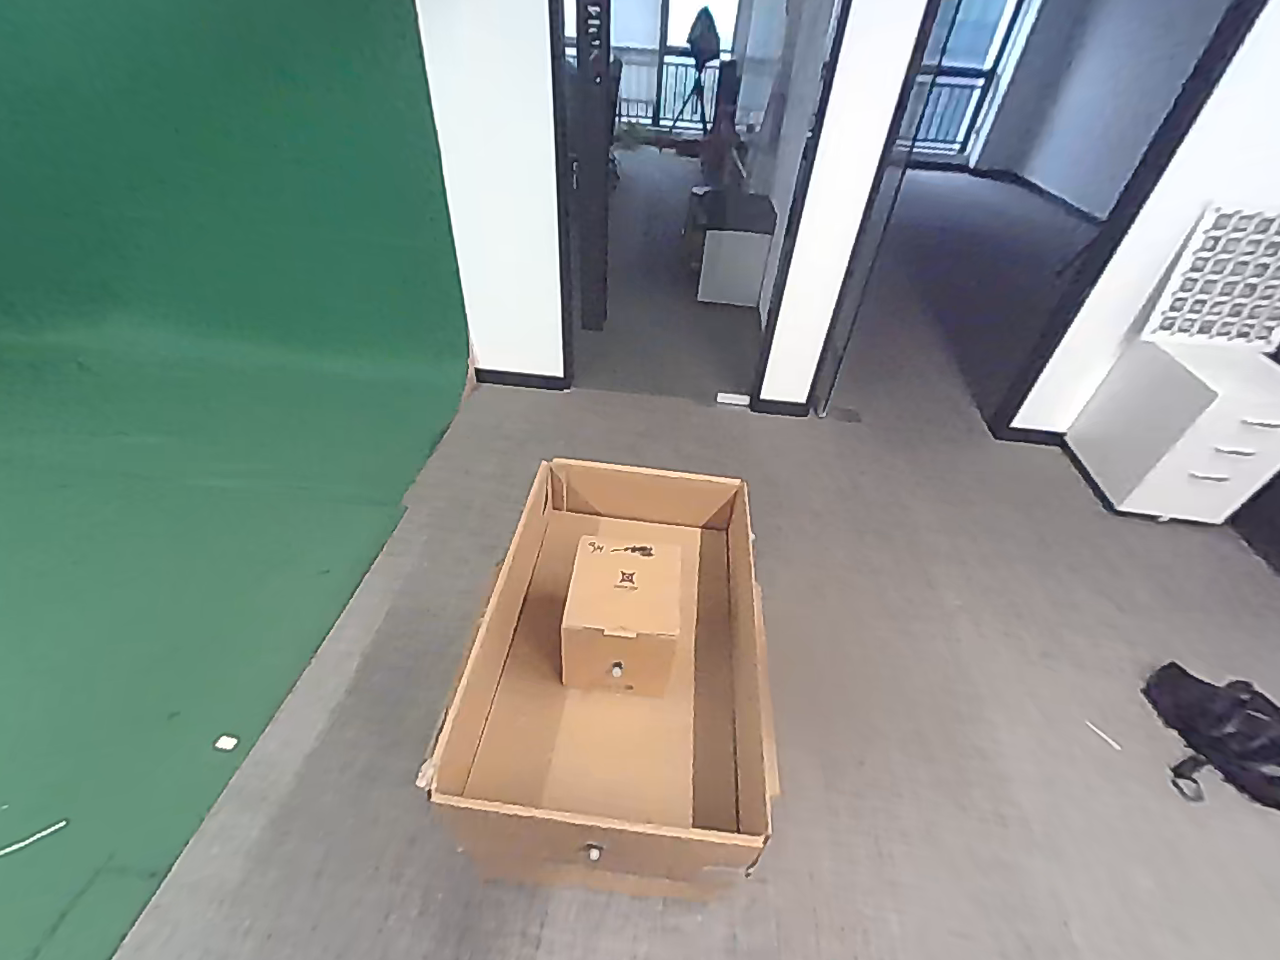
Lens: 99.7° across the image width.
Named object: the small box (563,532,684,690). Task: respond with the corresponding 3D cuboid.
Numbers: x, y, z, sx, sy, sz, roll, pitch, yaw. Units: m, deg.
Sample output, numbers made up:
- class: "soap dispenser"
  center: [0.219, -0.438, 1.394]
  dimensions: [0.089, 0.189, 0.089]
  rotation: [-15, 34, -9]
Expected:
- class: "small box"
  center: [-0.022, 0.210, 0.858]
  dimensions: [0.168, 0.176, 0.179]
  rotation: [6, 41, 1]
